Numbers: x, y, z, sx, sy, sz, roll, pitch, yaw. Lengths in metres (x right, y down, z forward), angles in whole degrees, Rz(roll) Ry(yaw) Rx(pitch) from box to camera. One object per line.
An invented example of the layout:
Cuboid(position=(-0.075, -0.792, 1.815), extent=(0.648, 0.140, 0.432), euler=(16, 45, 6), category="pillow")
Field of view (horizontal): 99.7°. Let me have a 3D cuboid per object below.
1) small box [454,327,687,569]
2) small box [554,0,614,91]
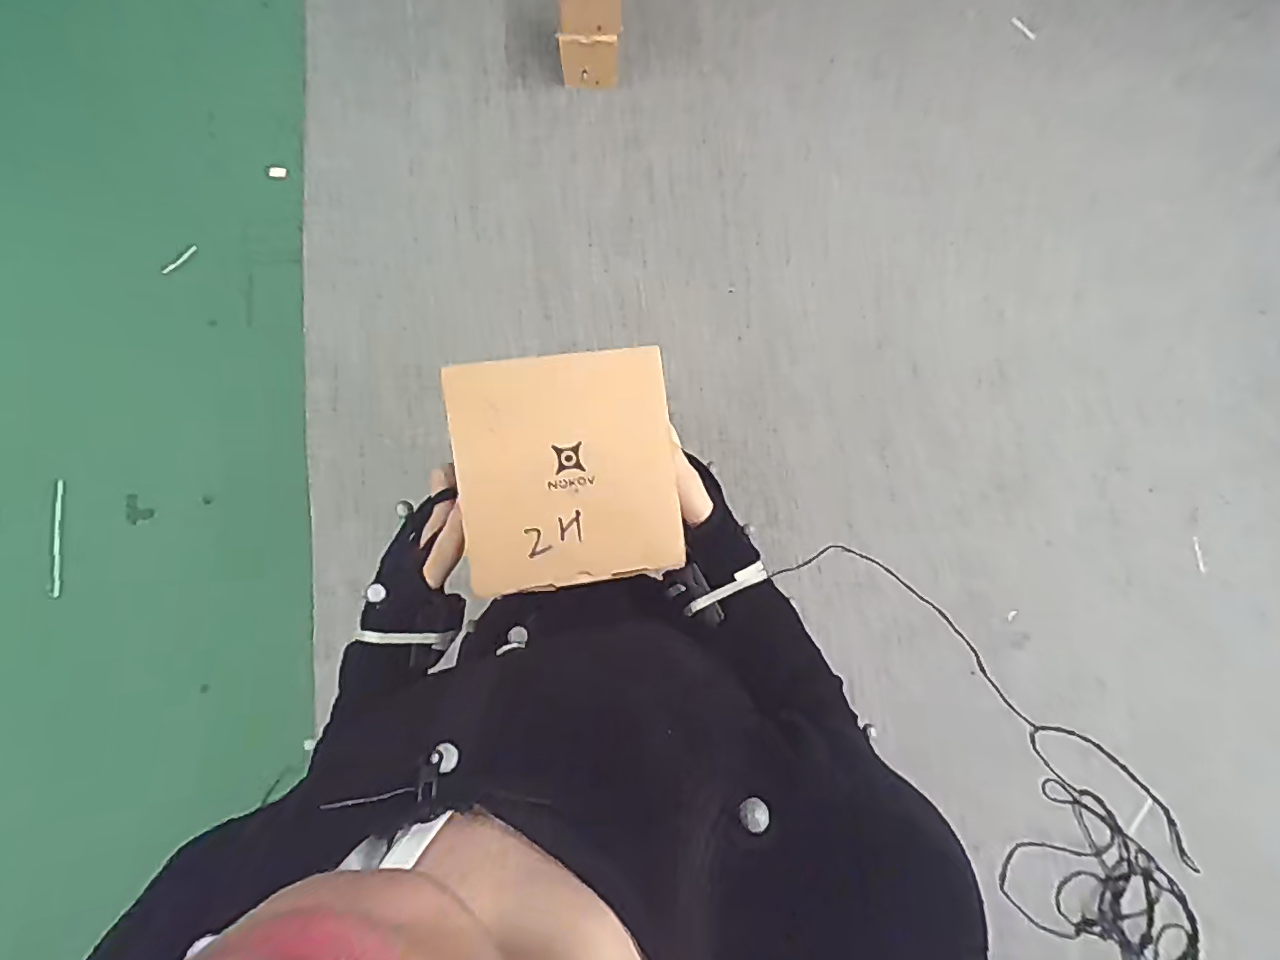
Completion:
Cuboid(position=(-0.064, -0.028, 0.493), extent=(0.168, 0.176, 0.179), euler=(-7, 93, -9), category="small box")
Cuboid(position=(-0.163, -1.301, 1.599), extent=(0.168, 0.176, 0.179), euler=(1, 84, -4), category="small box")
